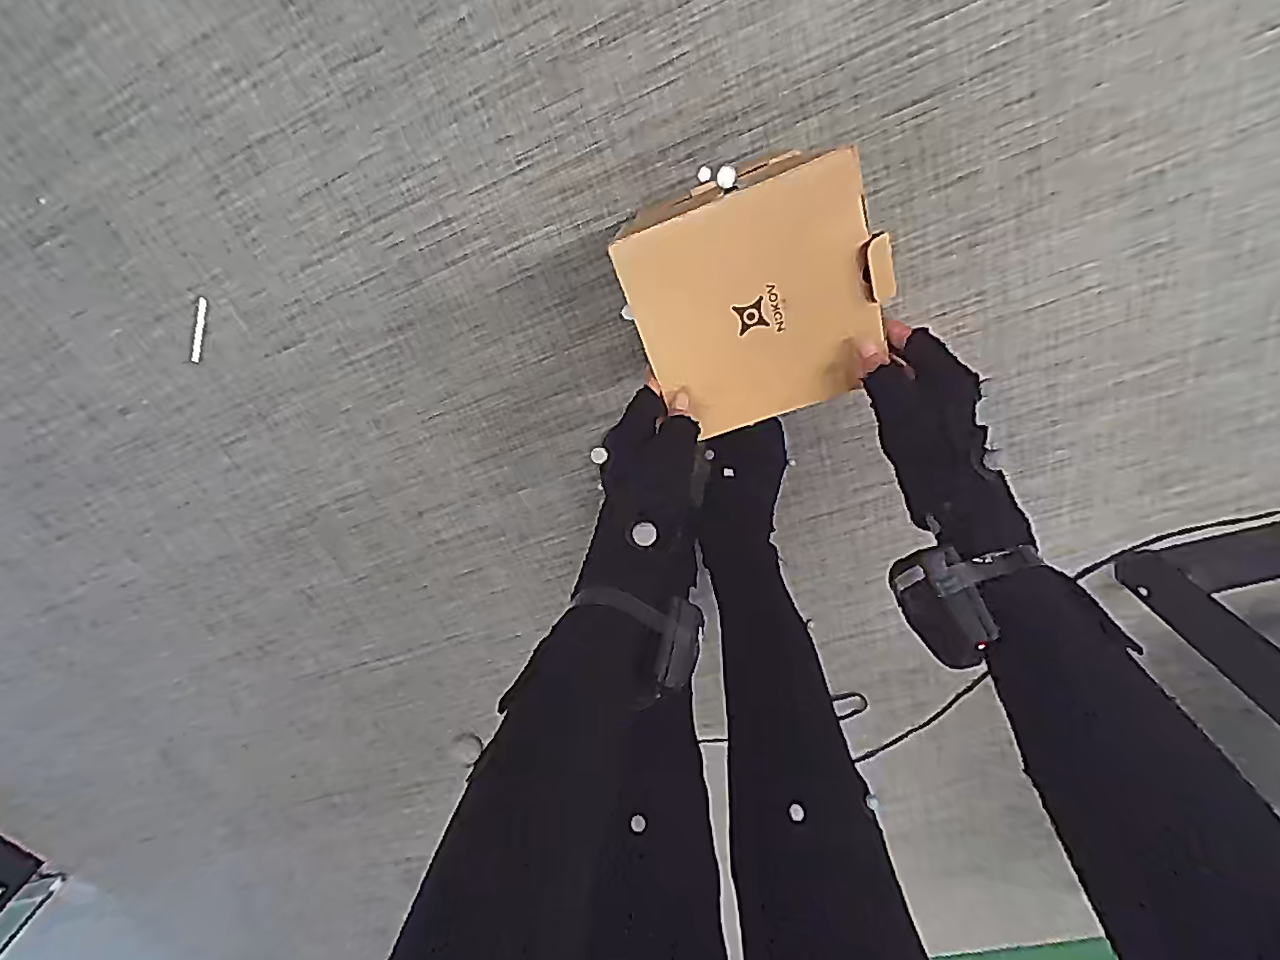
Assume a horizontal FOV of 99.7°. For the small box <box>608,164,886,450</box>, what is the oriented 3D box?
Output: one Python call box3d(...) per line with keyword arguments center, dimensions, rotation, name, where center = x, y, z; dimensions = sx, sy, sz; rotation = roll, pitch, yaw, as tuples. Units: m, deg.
box3d(center=(0.088, -0.152, 0.478), dimensions=(0.179, 0.176, 0.168), rotation=(-18, 115, 11), name="small box")
